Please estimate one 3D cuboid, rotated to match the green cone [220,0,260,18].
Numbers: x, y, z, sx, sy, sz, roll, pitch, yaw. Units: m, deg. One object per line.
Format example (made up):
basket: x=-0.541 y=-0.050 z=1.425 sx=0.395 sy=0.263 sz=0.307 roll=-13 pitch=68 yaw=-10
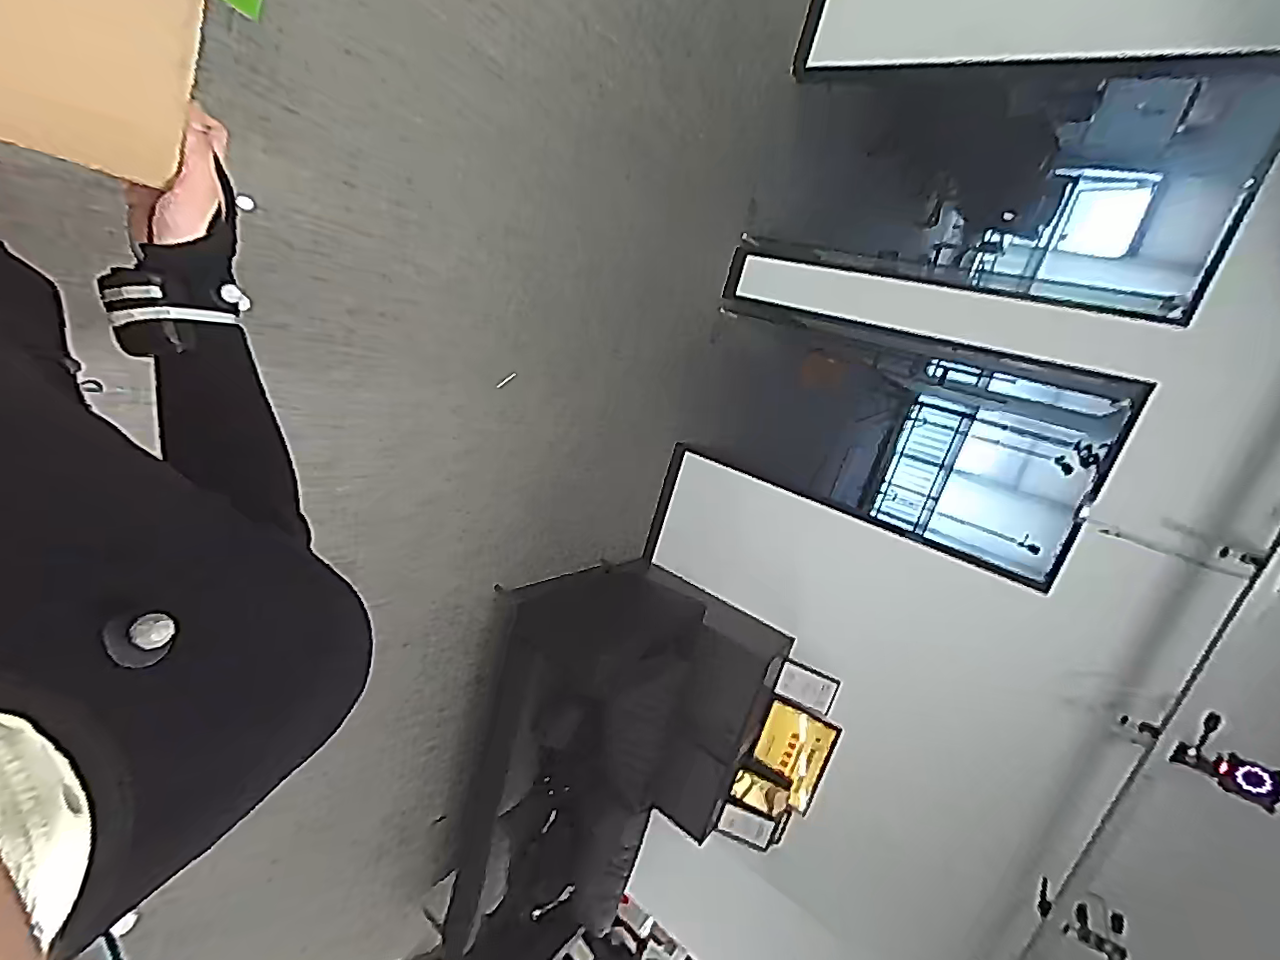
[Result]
green cone: x=-0.739 y=-1.051 z=1.014 sx=0.200 sy=0.368 sz=0.202 roll=6 pitch=105 yaw=-59
